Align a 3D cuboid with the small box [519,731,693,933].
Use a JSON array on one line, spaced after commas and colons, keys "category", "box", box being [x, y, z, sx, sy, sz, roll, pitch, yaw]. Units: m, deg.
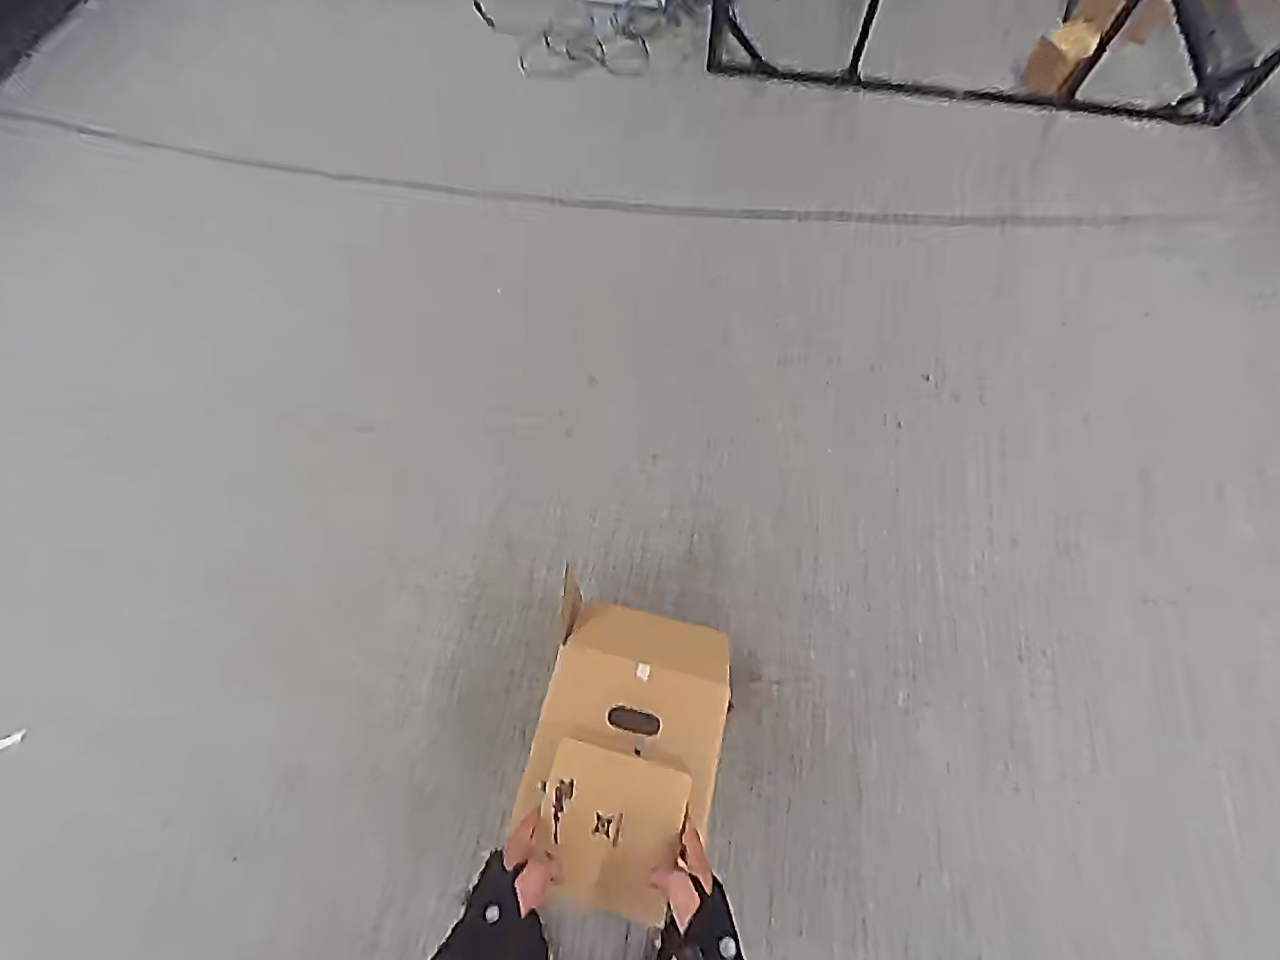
[{"category": "small box", "box": [-0.041, 0.454, 0.730, 0.179, 0.176, 0.168, 15, 72, 3]}]
